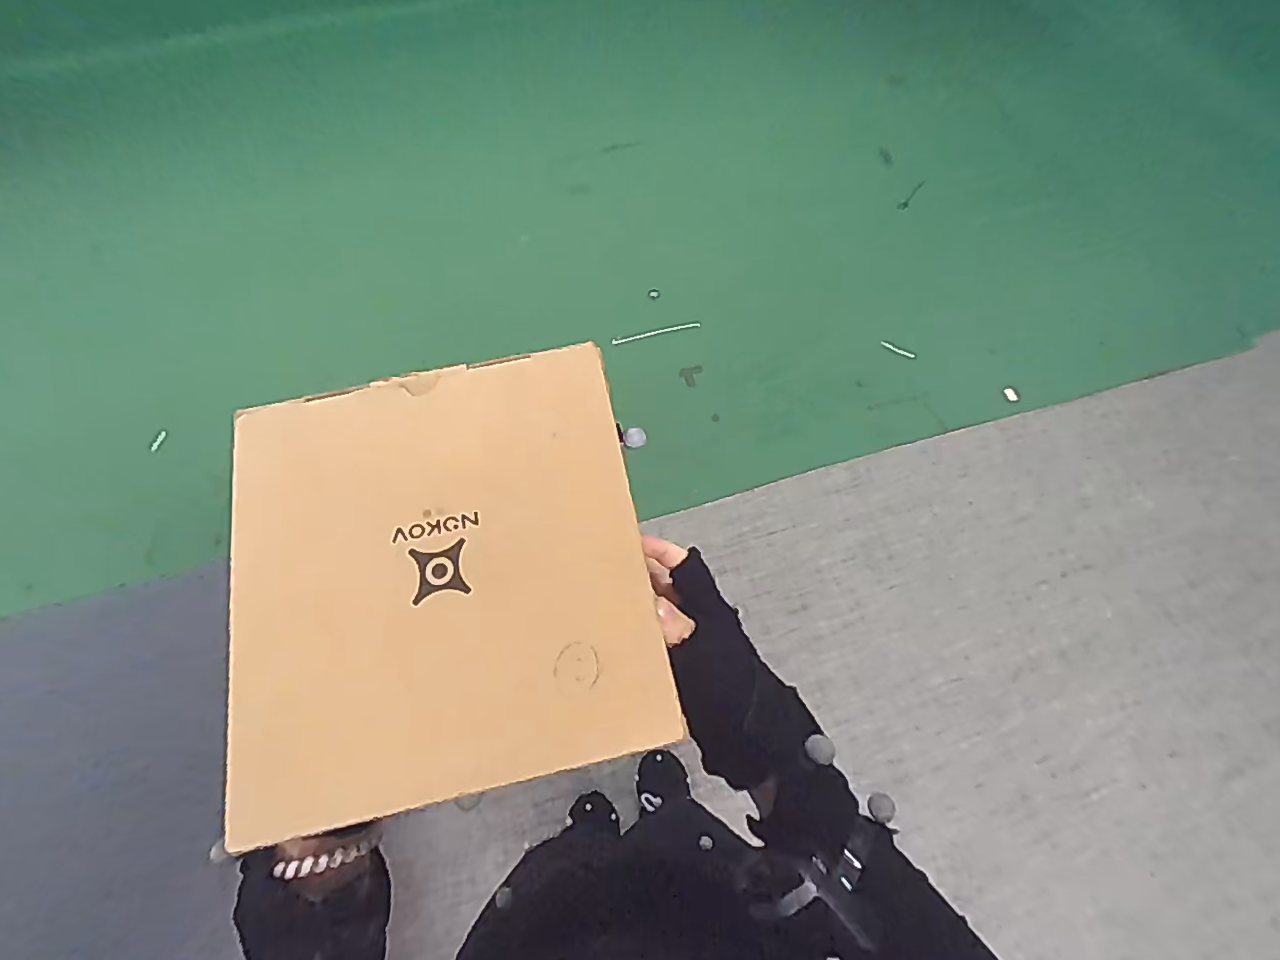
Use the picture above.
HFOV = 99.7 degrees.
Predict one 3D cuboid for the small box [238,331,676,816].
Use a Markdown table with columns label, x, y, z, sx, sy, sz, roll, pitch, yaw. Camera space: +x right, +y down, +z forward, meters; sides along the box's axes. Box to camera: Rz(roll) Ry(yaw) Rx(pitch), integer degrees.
| label | x | y | z | sx | sy | sz | roll | pitch | yaw |
| --- | --- | --- | --- | --- | --- | --- | --- | --- | --- |
| small box | -0.080 | 0.051 | 0.300 | 0.168 | 0.176 | 0.179 | -12 | 71 | -4 |
